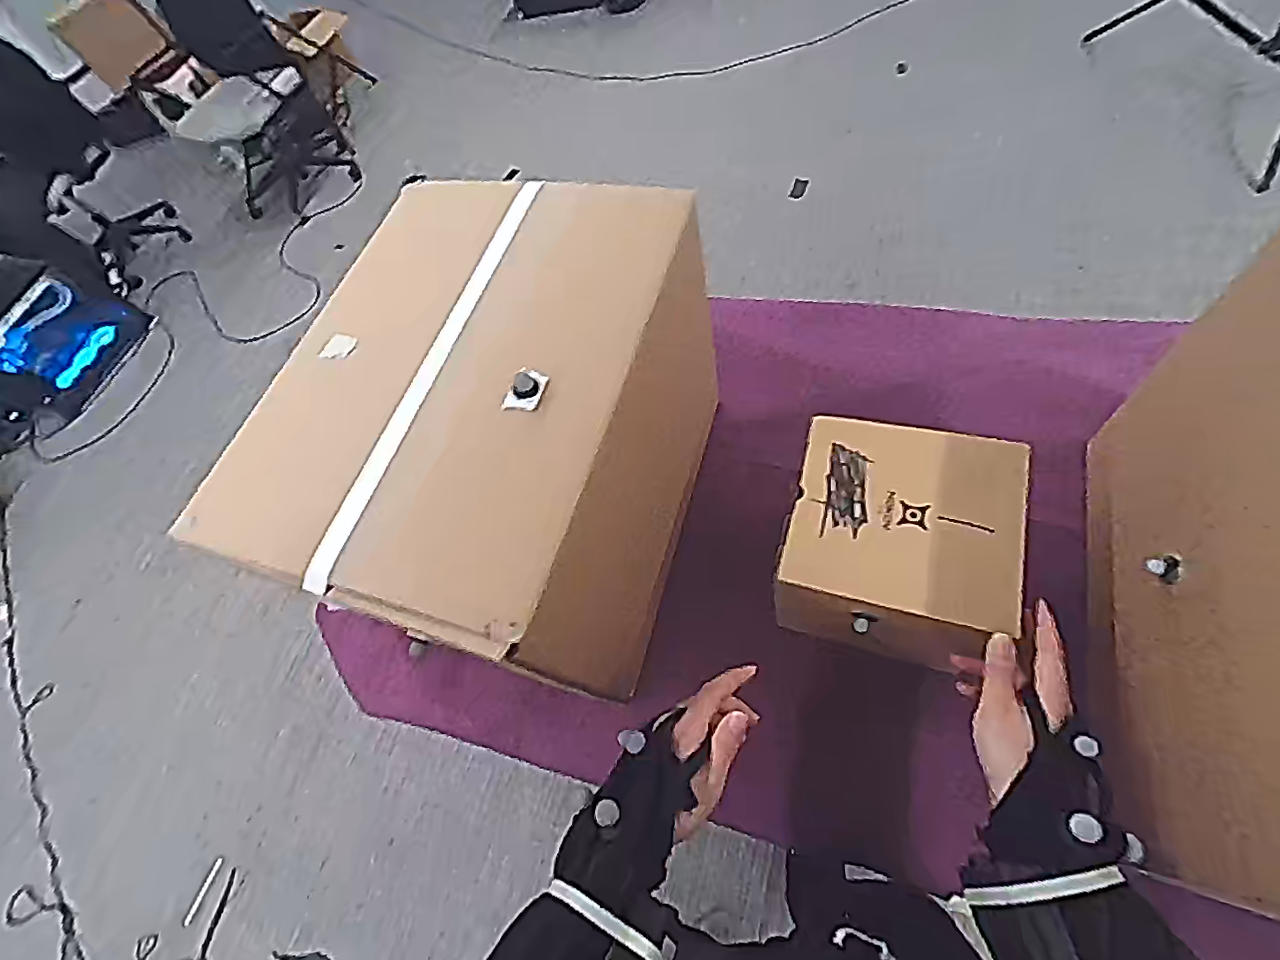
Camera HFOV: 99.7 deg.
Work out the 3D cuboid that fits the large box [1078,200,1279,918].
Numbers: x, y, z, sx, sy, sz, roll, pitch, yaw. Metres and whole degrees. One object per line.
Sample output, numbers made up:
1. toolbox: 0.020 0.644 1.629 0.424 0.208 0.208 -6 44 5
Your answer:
1. large box: 0.528 0.084 0.338 0.320 0.320 0.408 10 64 19
